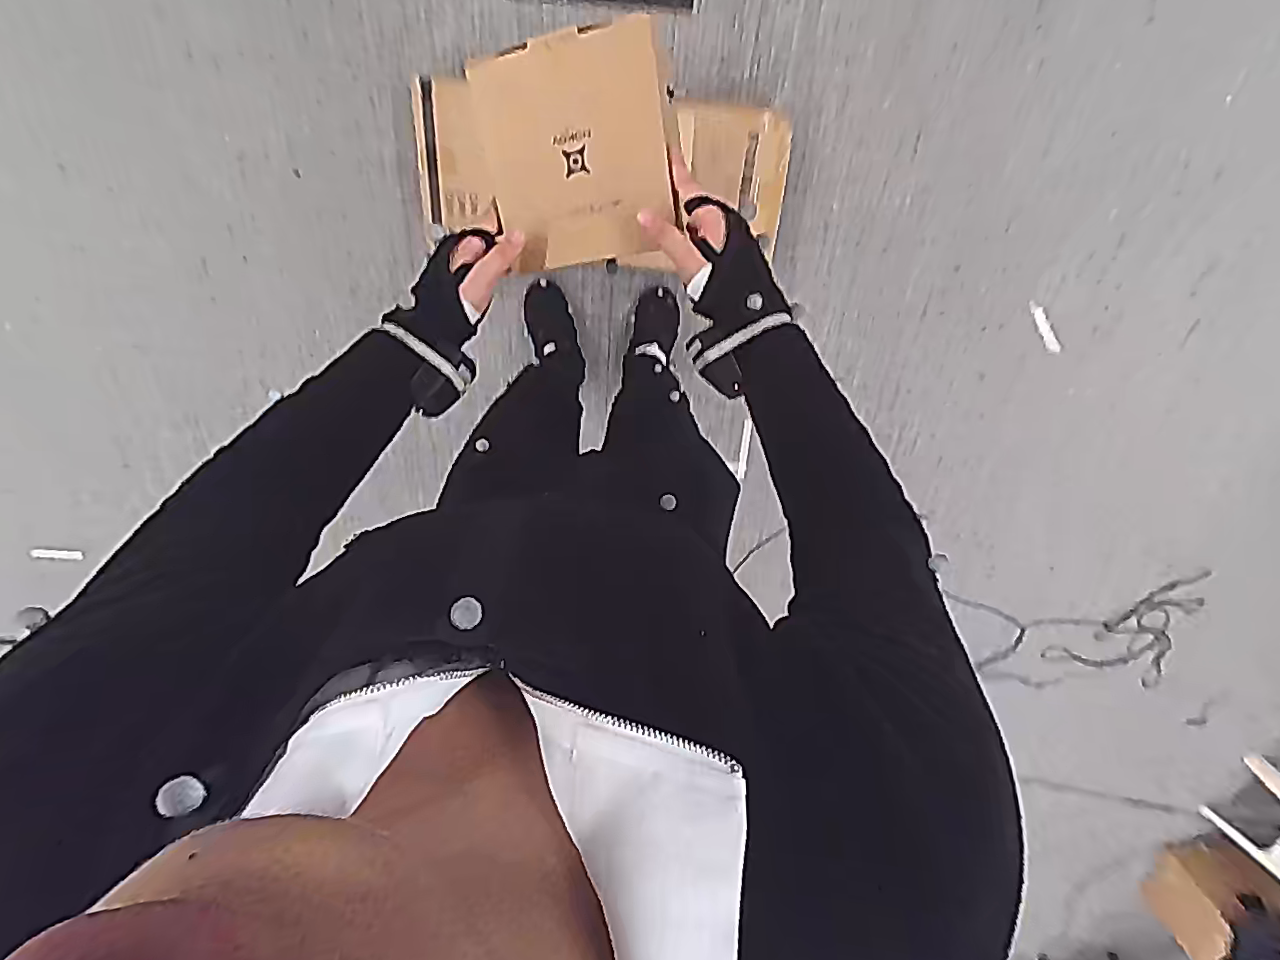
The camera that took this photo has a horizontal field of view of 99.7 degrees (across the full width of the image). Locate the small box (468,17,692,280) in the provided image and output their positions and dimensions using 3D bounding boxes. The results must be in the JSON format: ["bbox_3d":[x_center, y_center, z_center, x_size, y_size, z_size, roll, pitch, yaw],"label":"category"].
[{"bbox_3d":[-0.042,-0.309,0.542,0.168,0.176,0.179,-6,113,12],"label":"small box"}]
